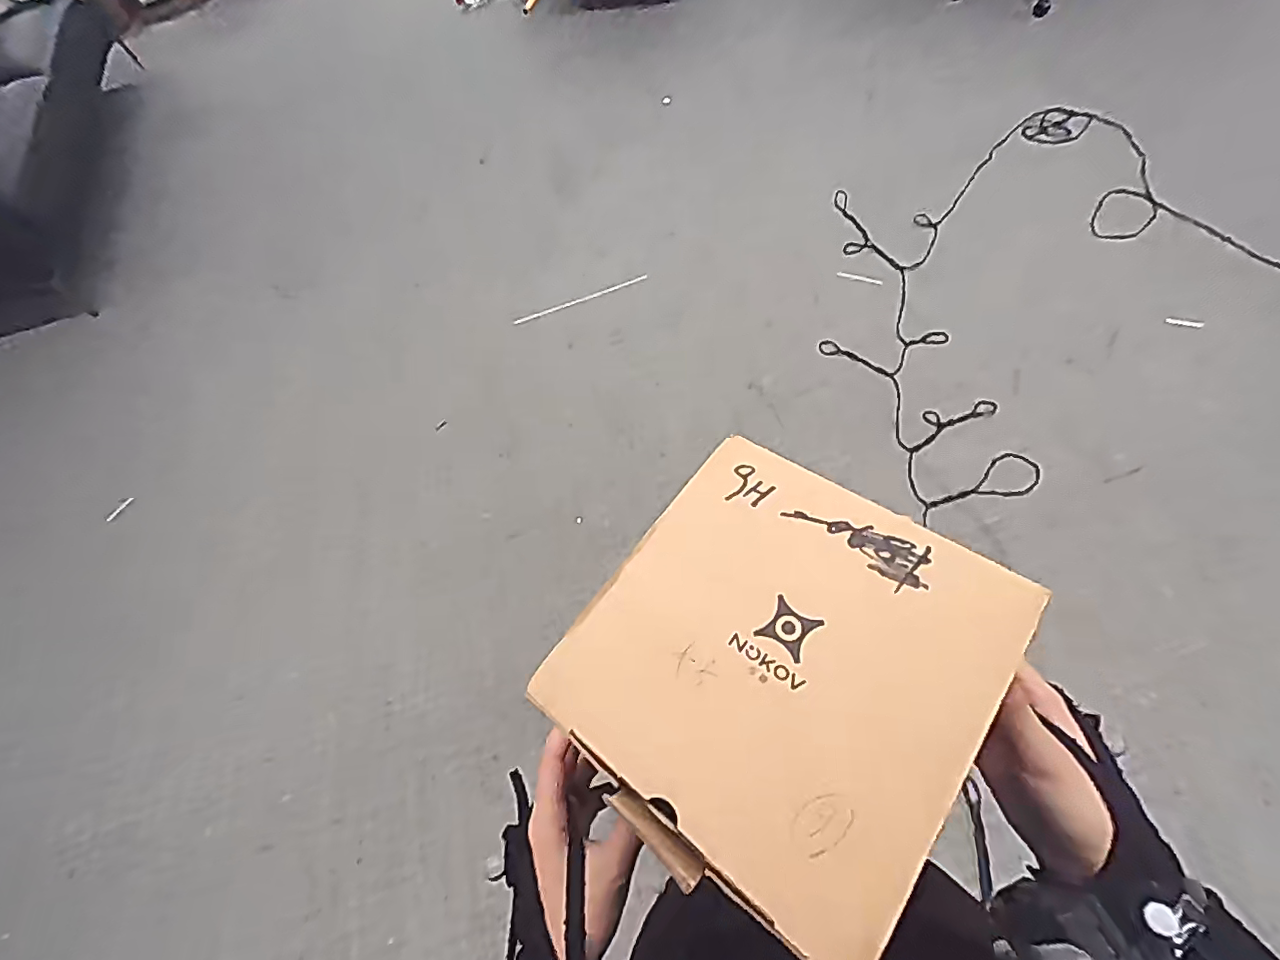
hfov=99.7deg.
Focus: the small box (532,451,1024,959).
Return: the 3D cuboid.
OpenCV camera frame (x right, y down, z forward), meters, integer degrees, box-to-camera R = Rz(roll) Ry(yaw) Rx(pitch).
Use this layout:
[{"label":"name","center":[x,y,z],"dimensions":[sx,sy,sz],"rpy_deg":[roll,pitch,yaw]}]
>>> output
[{"label":"small box","center":[0.075,0.122,0.319],"dimensions":[0.168,0.176,0.179],"rpy_deg":[31,69,27]}]
